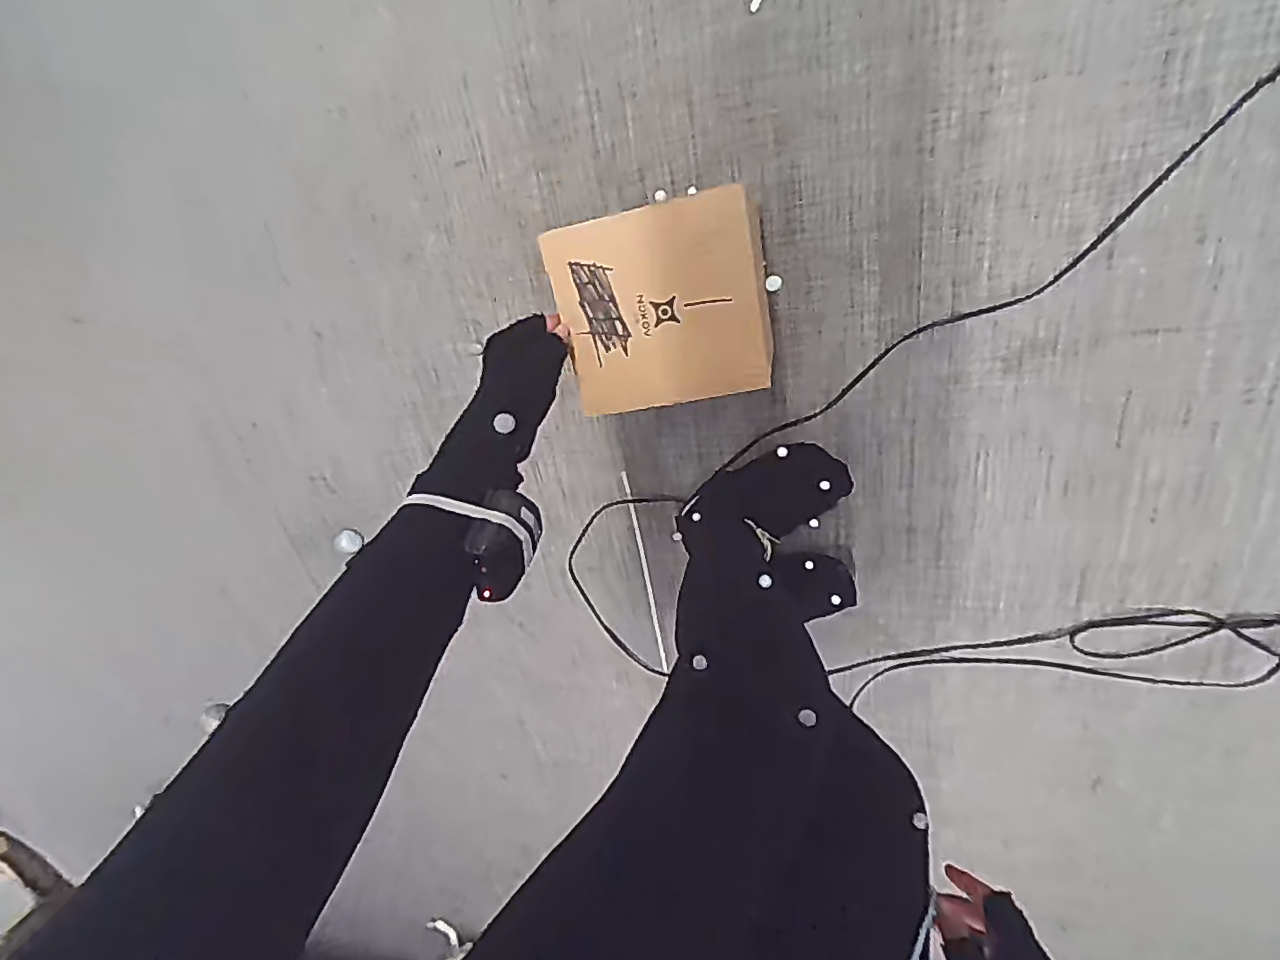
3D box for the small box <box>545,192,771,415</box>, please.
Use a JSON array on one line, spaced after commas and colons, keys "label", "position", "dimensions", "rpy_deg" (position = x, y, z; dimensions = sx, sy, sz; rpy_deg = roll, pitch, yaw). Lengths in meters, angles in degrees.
[{"label": "small box", "position": [0.033, -0.175, 0.541], "dimensions": [0.179, 0.176, 0.168], "rpy_deg": [-5, 113, 17]}]
